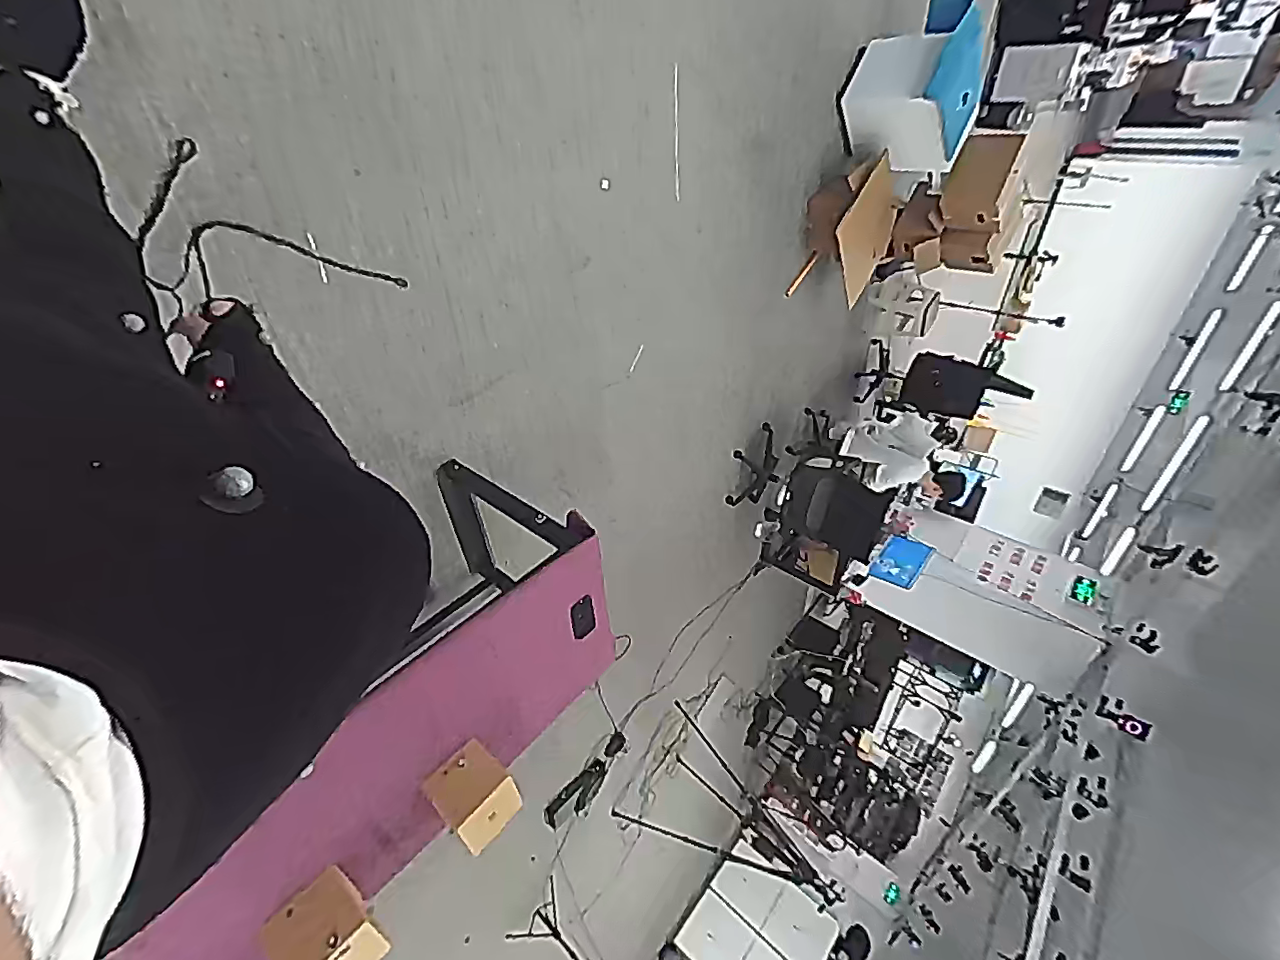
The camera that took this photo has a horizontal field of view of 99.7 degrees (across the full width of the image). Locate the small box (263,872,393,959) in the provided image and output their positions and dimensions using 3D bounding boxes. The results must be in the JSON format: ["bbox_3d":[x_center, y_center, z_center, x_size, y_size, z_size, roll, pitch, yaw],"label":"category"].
[{"bbox_3d":[-0.683,1.018,1.190,0.168,0.176,0.179,-36,137,-37],"label":"small box"}]

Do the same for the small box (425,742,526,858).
[{"bbox_3d":[-0.429,0.830,1.417,0.168,0.176,0.179,-38,137,-35],"label":"small box"}]
